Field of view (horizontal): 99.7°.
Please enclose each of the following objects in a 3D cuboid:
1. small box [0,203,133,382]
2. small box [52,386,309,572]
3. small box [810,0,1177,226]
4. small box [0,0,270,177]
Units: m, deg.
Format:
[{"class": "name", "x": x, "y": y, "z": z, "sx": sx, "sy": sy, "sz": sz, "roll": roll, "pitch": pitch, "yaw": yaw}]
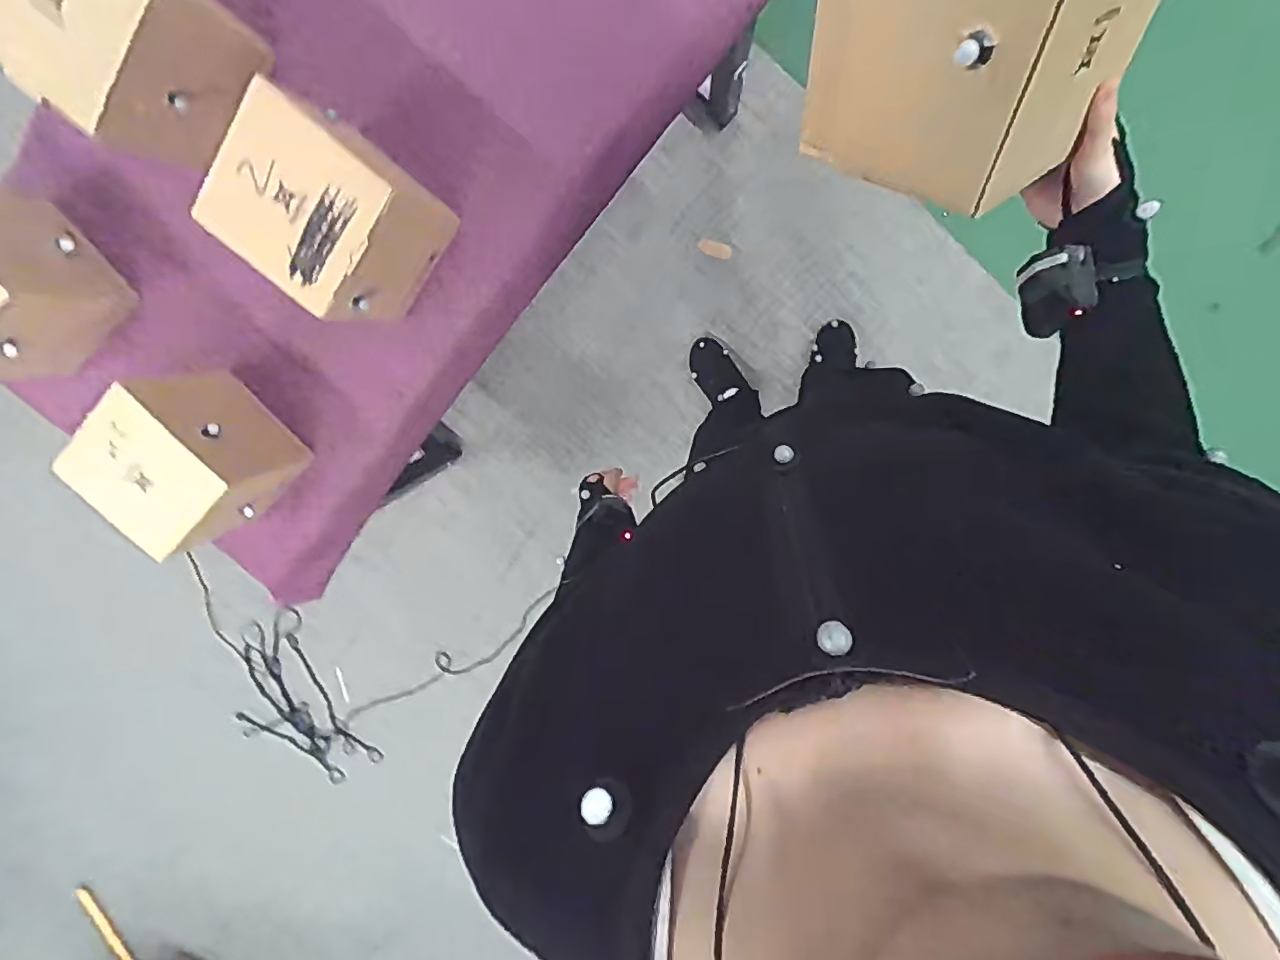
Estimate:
[{"class": "small box", "x": -0.835, "y": -0.238, "z": 0.702, "sx": 0.179, "sy": 0.176, "sz": 0.168, "roll": -36, "pitch": 101, "yaw": 12}, {"class": "small box", "x": -0.612, "y": -0.013, "z": 0.746, "sx": 0.168, "sy": 0.176, "sz": 0.179, "roll": -40, "pitch": 98, "yaw": 13}, {"class": "small box", "x": 0.249, "y": -0.323, "z": 0.392, "sx": 0.168, "sy": 0.176, "sz": 0.179, "roll": -35, "pitch": 146, "yaw": -20}, {"class": "small box", "x": -0.573, "y": -0.485, "z": 0.613, "sx": 0.168, "sy": 0.176, "sz": 0.179, "roll": 39, "pitch": 106, "yaw": -8}]
